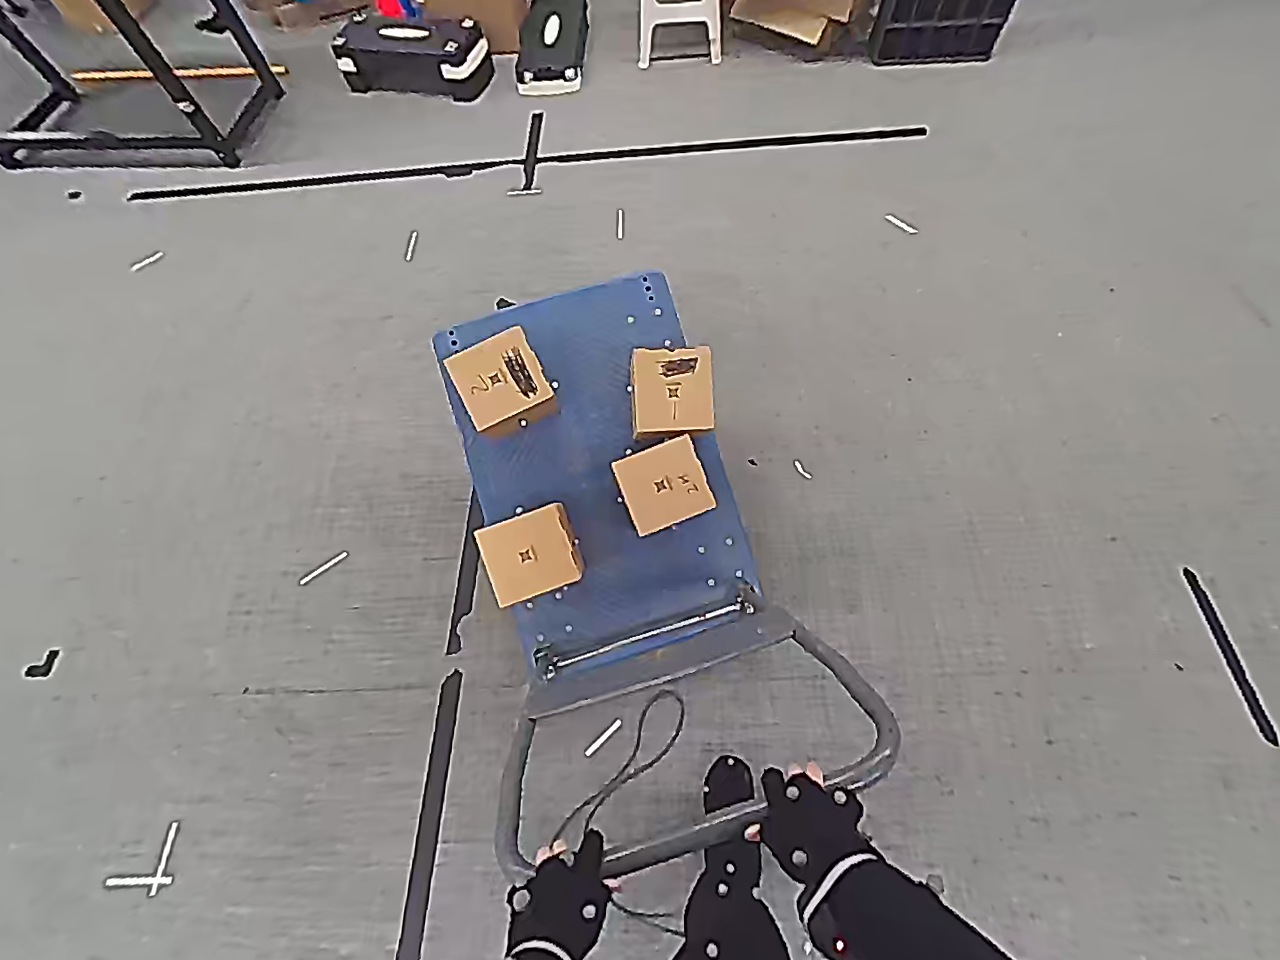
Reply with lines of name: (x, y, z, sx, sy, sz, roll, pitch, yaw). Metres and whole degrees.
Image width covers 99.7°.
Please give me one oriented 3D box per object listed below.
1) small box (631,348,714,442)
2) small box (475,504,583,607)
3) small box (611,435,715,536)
small box: (0.066, -0.184, 1.206, 0.168, 0.176, 0.179, -3, 88, -2)
small box: (-0.232, 0.159, 1.176, 0.179, 0.176, 0.168, -20, 88, -5)
small box: (0.046, 0.015, 1.196, 0.179, 0.176, 0.168, -22, 89, -3)
